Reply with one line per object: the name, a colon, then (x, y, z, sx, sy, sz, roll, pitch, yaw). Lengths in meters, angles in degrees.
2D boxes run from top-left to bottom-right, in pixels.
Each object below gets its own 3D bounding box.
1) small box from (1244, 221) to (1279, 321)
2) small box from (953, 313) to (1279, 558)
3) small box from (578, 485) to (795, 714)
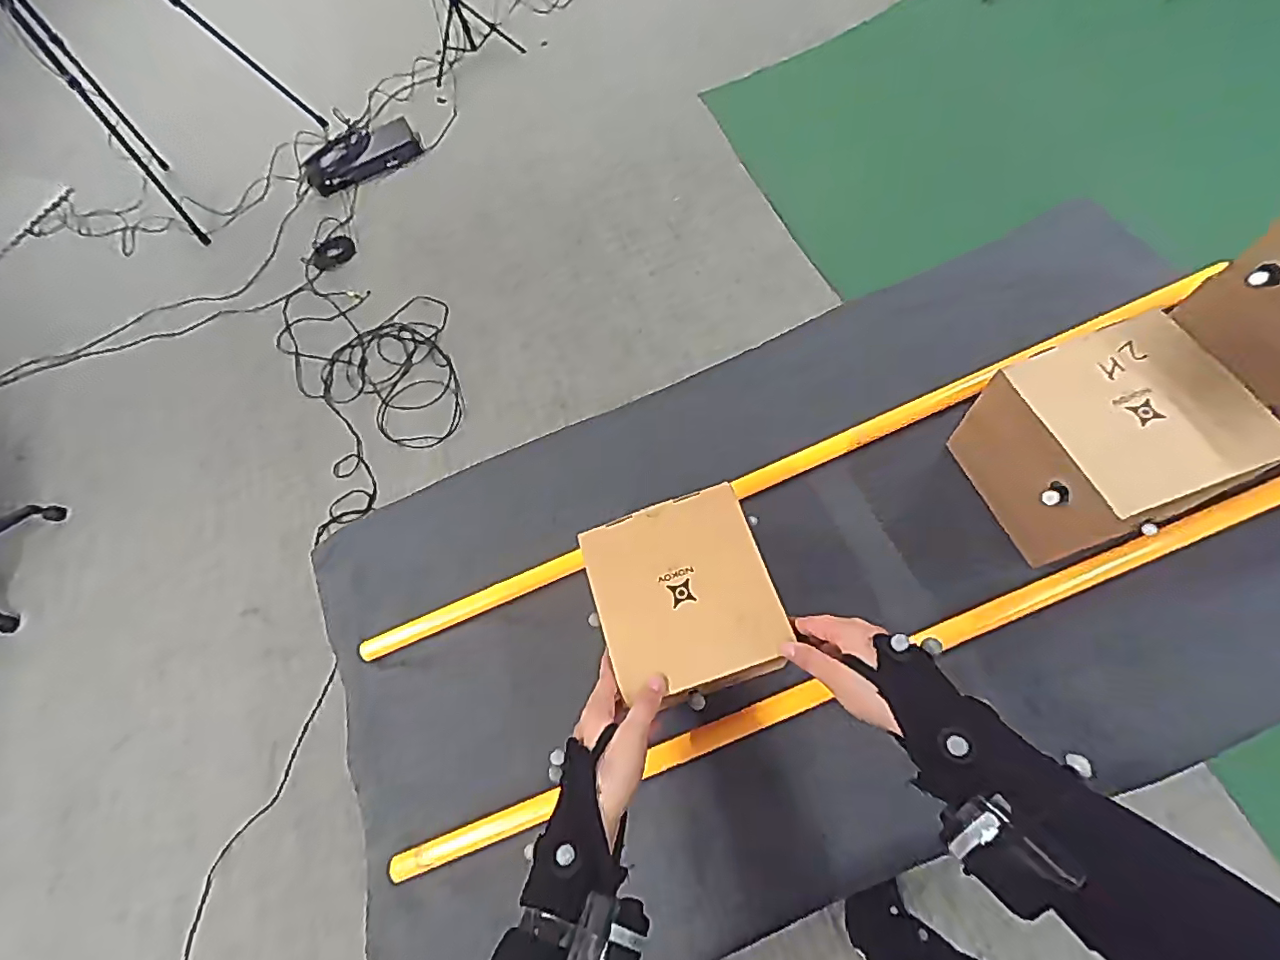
small box: (0.646, -0.190, 0.414, 0.179, 0.176, 0.168, -20, 65, 3)
small box: (0.469, -0.030, 0.563, 0.168, 0.176, 0.179, -21, 64, 4)
small box: (0.051, 0.136, 0.579, 0.168, 0.176, 0.179, -20, 64, 1)
